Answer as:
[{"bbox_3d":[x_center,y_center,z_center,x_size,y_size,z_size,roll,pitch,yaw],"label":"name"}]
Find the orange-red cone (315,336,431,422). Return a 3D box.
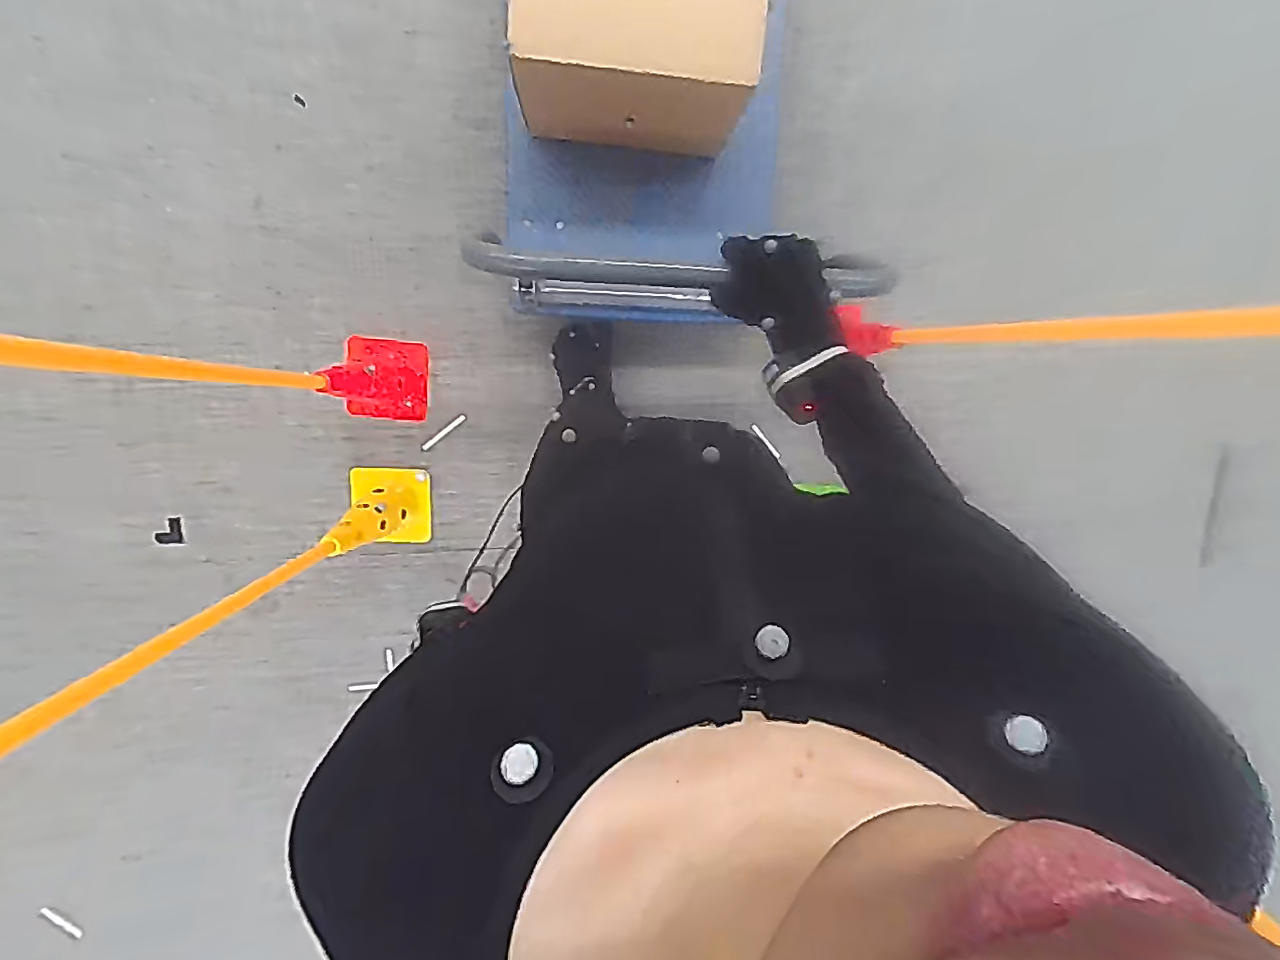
[{"bbox_3d":[-0.619,-0.226,1.202,0.198,0.360,0.199,6,99,-7],"label":"orange-red cone"}]

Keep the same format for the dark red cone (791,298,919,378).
[{"bbox_3d":[0.508,-0.337,1.247,0.201,0.394,0.202,-2,101,-6],"label":"dark red cone"}]

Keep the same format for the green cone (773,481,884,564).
[{"bbox_3d":[0.492,0.136,1.355,0.202,0.368,0.200,2,101,-6],"label":"green cone"}]

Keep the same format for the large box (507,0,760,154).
[{"bbox_3d":[-0.013,-0.826,0.985,0.408,0.320,0.320,3,101,-5],"label":"large box"}]
